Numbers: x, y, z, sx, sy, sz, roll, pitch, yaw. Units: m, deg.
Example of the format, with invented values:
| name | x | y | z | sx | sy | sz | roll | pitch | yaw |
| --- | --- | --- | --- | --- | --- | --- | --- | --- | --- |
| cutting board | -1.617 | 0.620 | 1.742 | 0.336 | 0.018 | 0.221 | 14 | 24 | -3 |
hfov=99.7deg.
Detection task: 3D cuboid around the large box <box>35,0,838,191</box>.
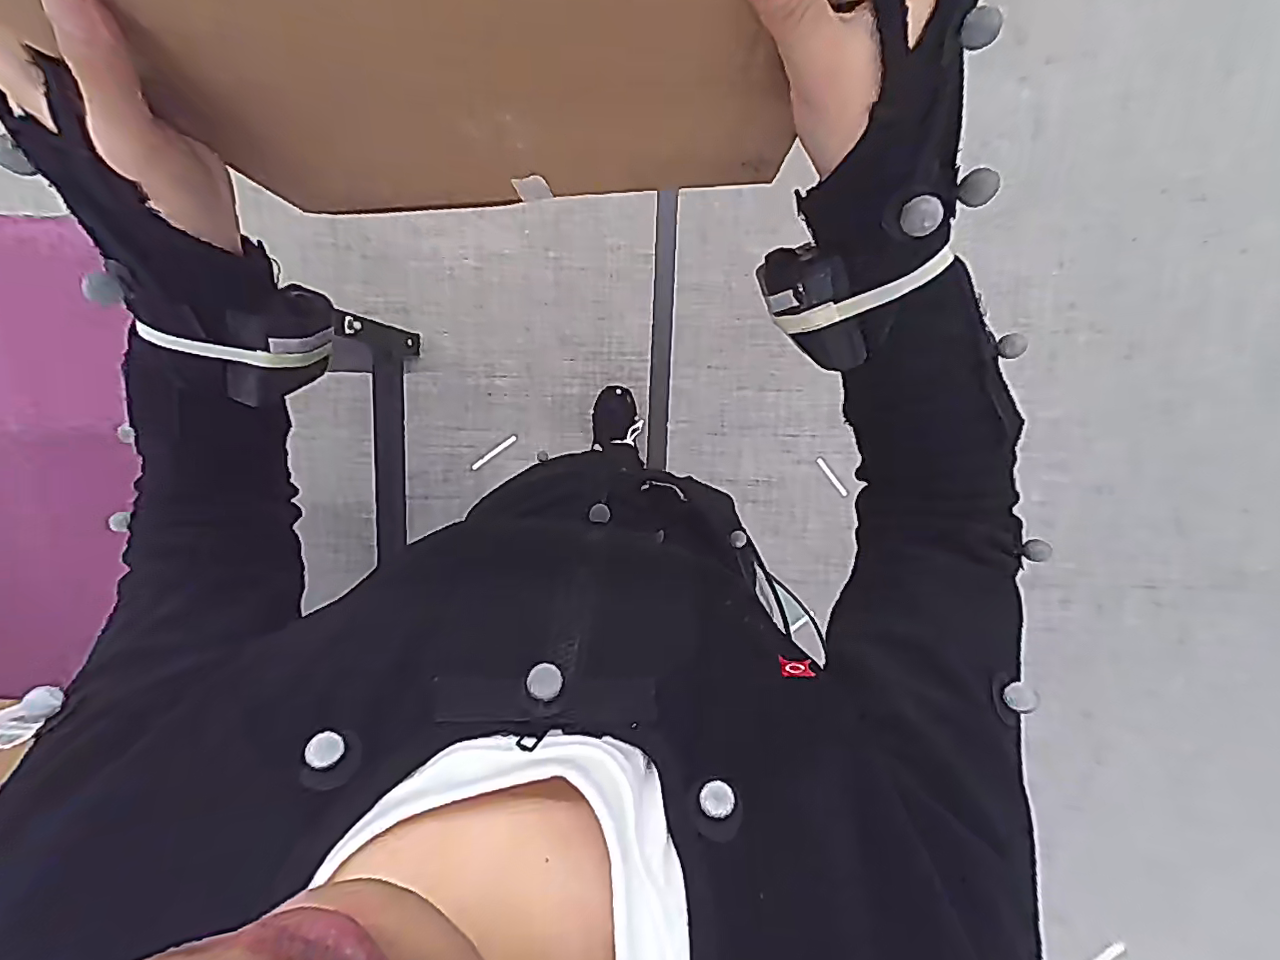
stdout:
| name | x | y | z | sx | sy | sz | roll | pitch | yaw |
| --- | --- | --- | --- | --- | --- | --- | --- | --- | --- |
| large box | -0.083 | -0.378 | 0.181 | 0.320 | 0.320 | 0.408 | -4 | 96 | 3 |
